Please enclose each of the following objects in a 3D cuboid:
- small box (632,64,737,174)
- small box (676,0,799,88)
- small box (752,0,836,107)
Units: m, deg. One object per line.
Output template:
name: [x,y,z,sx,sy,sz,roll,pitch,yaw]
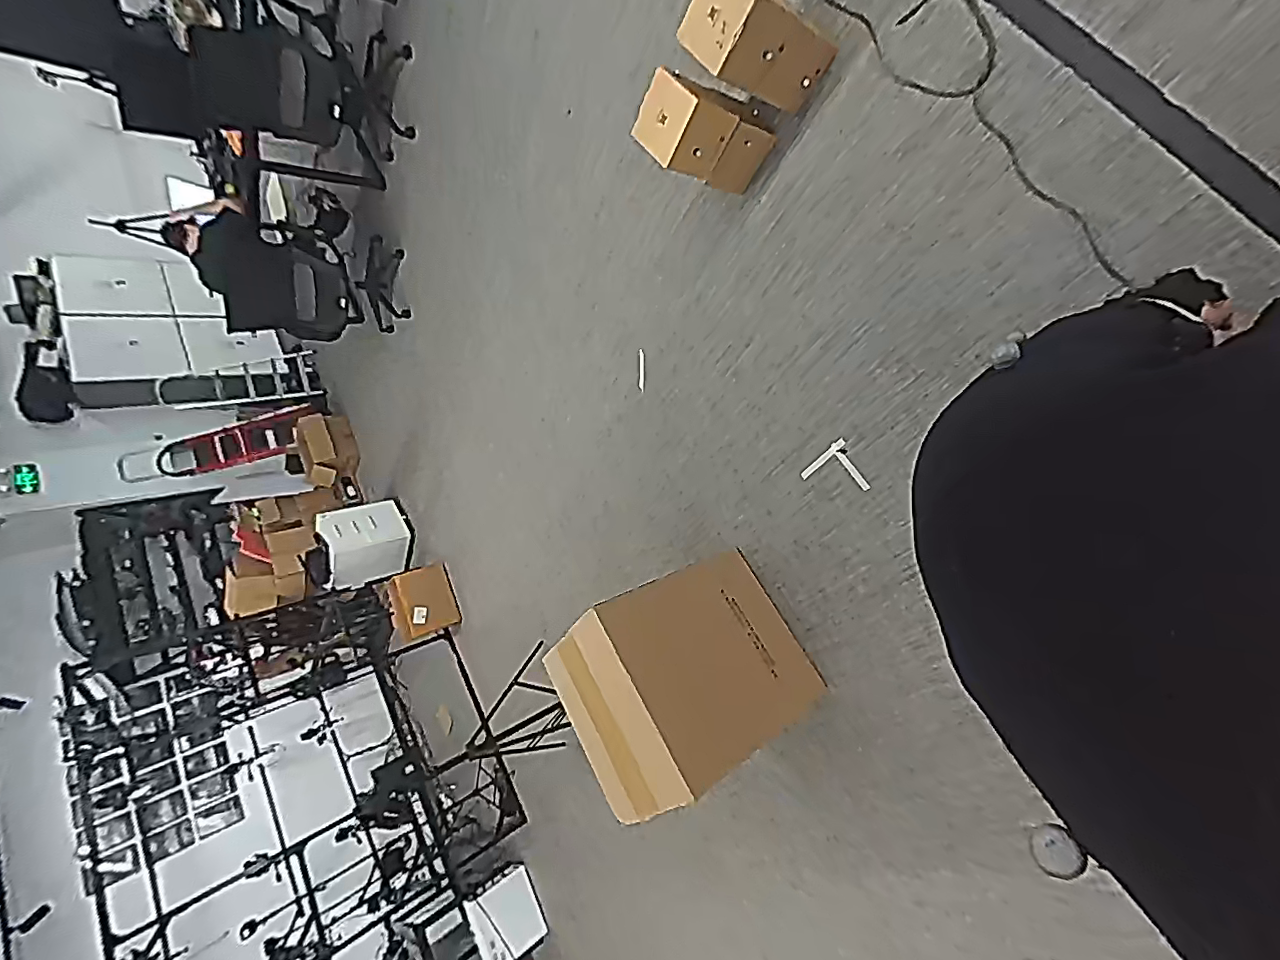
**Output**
small box: [0.115,-0.913,1.383,0.179,0.176,0.168,56,136,23]
small box: [0.220,-1.031,1.224,0.179,0.176,0.168,57,137,19]
small box: [0.341,-1.063,1.332,0.179,0.176,0.168,58,137,18]
